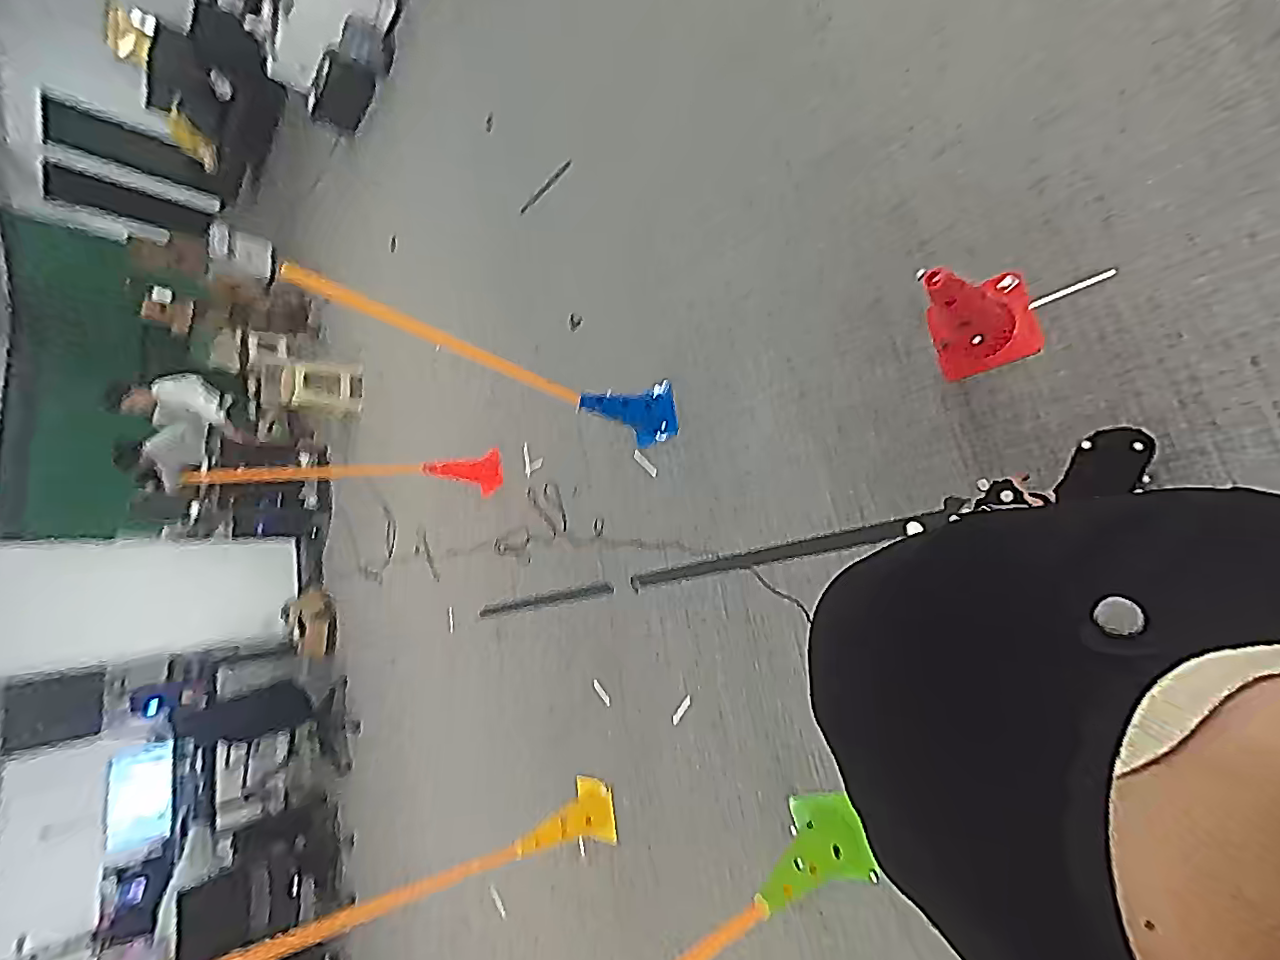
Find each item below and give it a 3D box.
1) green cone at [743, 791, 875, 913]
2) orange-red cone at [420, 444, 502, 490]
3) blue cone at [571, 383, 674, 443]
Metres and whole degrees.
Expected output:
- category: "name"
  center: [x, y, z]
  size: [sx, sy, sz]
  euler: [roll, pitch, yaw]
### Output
- category: "green cone"
  center: [0.374, 0.927, 1.306]
  size: [0.202, 0.368, 0.200]
  euler: [-35, 64, 39]
- category: "orange-red cone"
  center: [-0.870, -0.070, 2.581]
  size: [0.198, 0.360, 0.199]
  euler: [-27, 70, 40]
- category: "blue cone"
  center: [-0.070, -0.252, 1.833]
  size: [0.192, 0.380, 0.193]
  euler: [-18, 75, 43]
